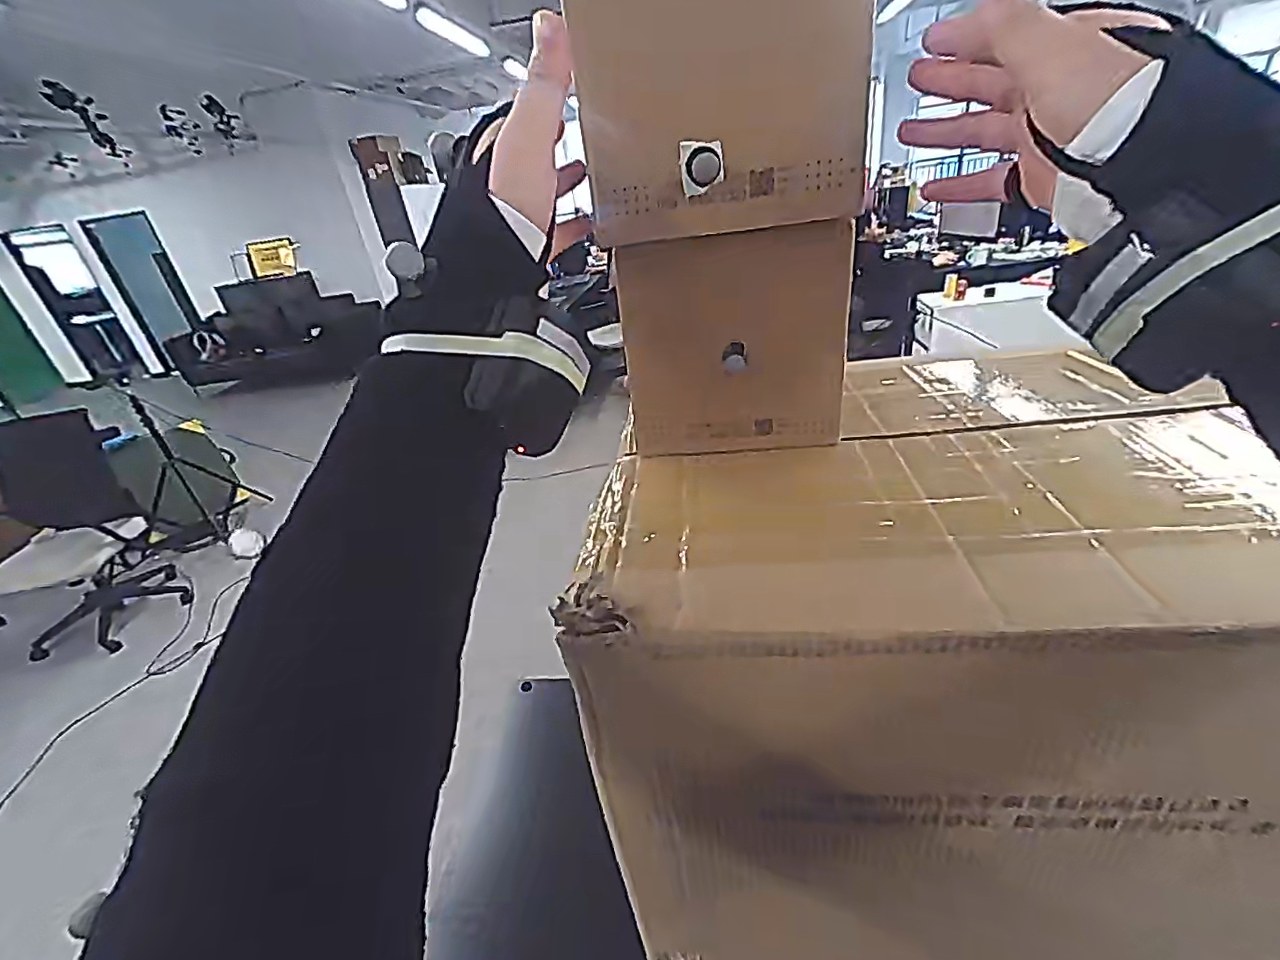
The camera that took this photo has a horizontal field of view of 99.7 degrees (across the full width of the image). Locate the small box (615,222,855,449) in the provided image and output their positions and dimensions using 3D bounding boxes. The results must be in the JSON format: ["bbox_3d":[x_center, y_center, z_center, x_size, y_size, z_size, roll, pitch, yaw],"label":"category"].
[{"bbox_3d":[0.081,-0.133,0.473,0.168,0.176,0.179,-3,29,8],"label":"small box"}]

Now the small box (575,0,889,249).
[{"bbox_3d":[0.054,-0.260,0.367,0.168,0.176,0.179,-6,28,6],"label":"small box"}]
